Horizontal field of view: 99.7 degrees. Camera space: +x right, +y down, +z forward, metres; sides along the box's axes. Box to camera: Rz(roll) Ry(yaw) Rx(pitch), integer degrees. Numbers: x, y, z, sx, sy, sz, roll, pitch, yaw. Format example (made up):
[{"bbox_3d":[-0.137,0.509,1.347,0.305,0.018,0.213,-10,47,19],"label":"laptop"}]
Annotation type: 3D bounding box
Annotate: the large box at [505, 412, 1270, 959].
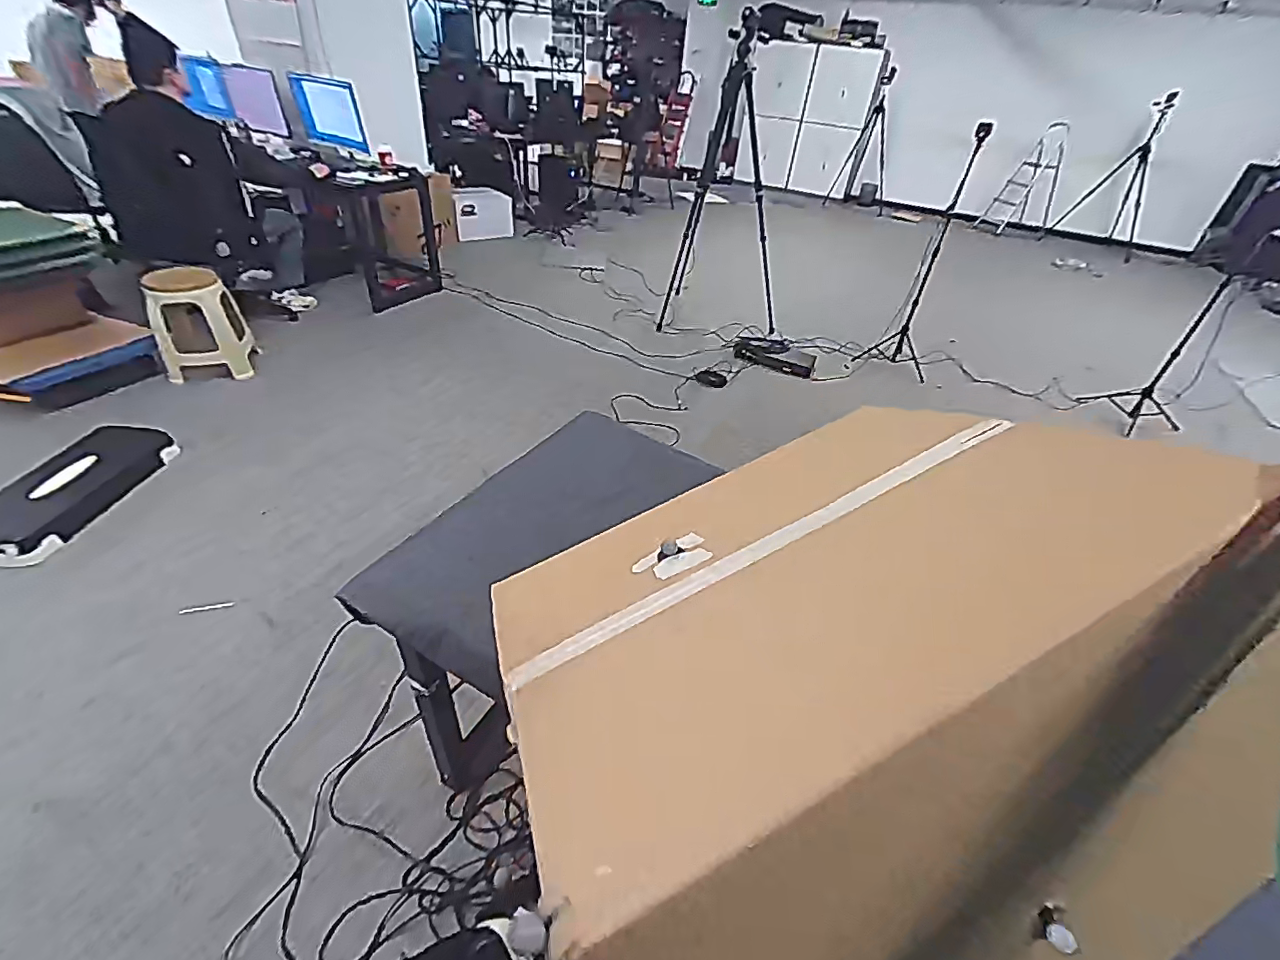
[{"bbox_3d":[0.160,0.183,0.426,0.408,0.320,0.320,-27,21,-12],"label":"large box"}]
